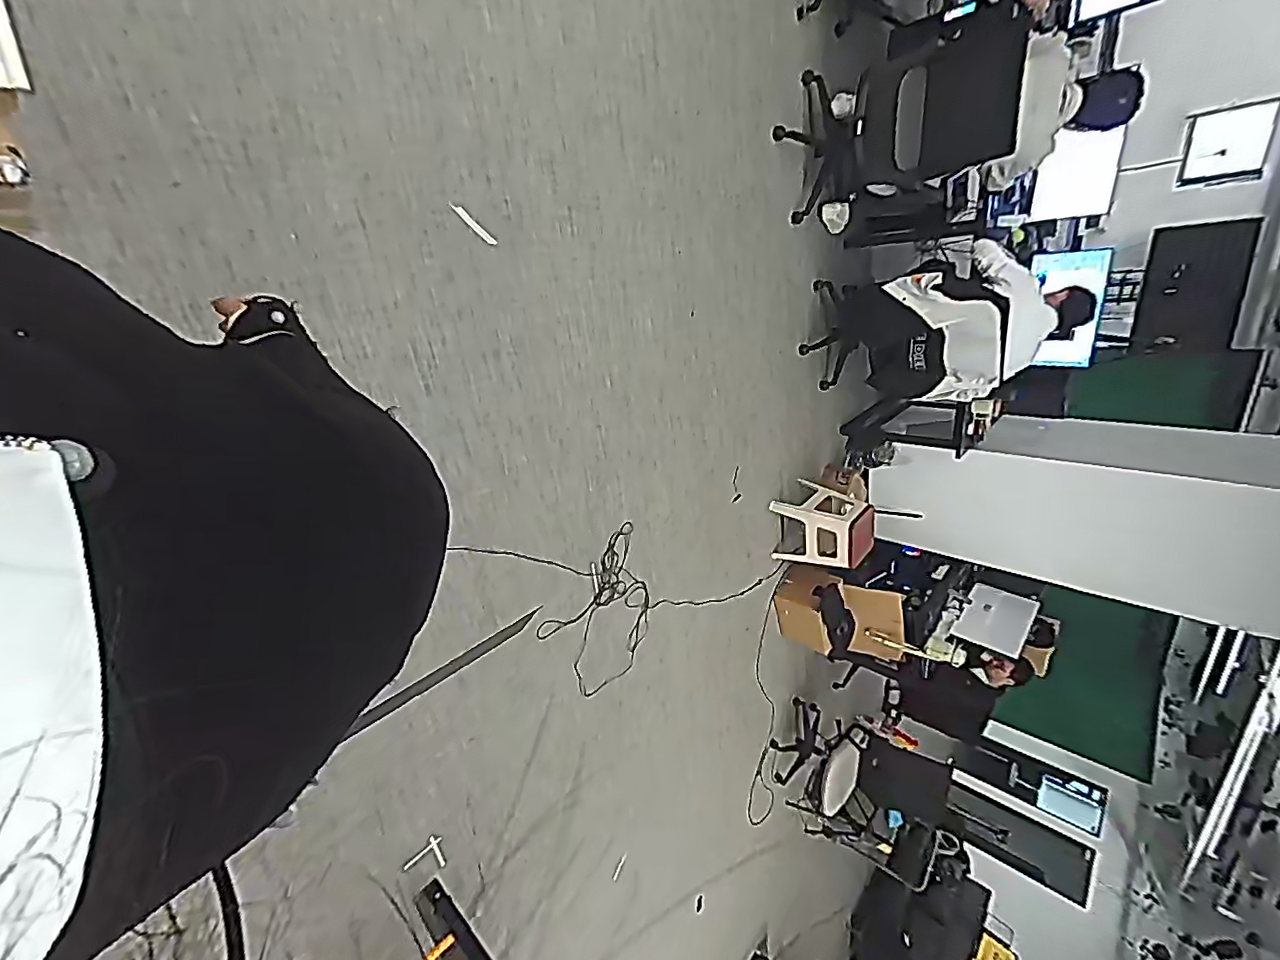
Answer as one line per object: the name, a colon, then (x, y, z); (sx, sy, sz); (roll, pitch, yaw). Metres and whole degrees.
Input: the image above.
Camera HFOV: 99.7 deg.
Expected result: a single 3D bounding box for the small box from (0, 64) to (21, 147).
small box: (-0.761, -0.432, 0.521); (0.179, 0.176, 0.168); (-25, 119, -43)
